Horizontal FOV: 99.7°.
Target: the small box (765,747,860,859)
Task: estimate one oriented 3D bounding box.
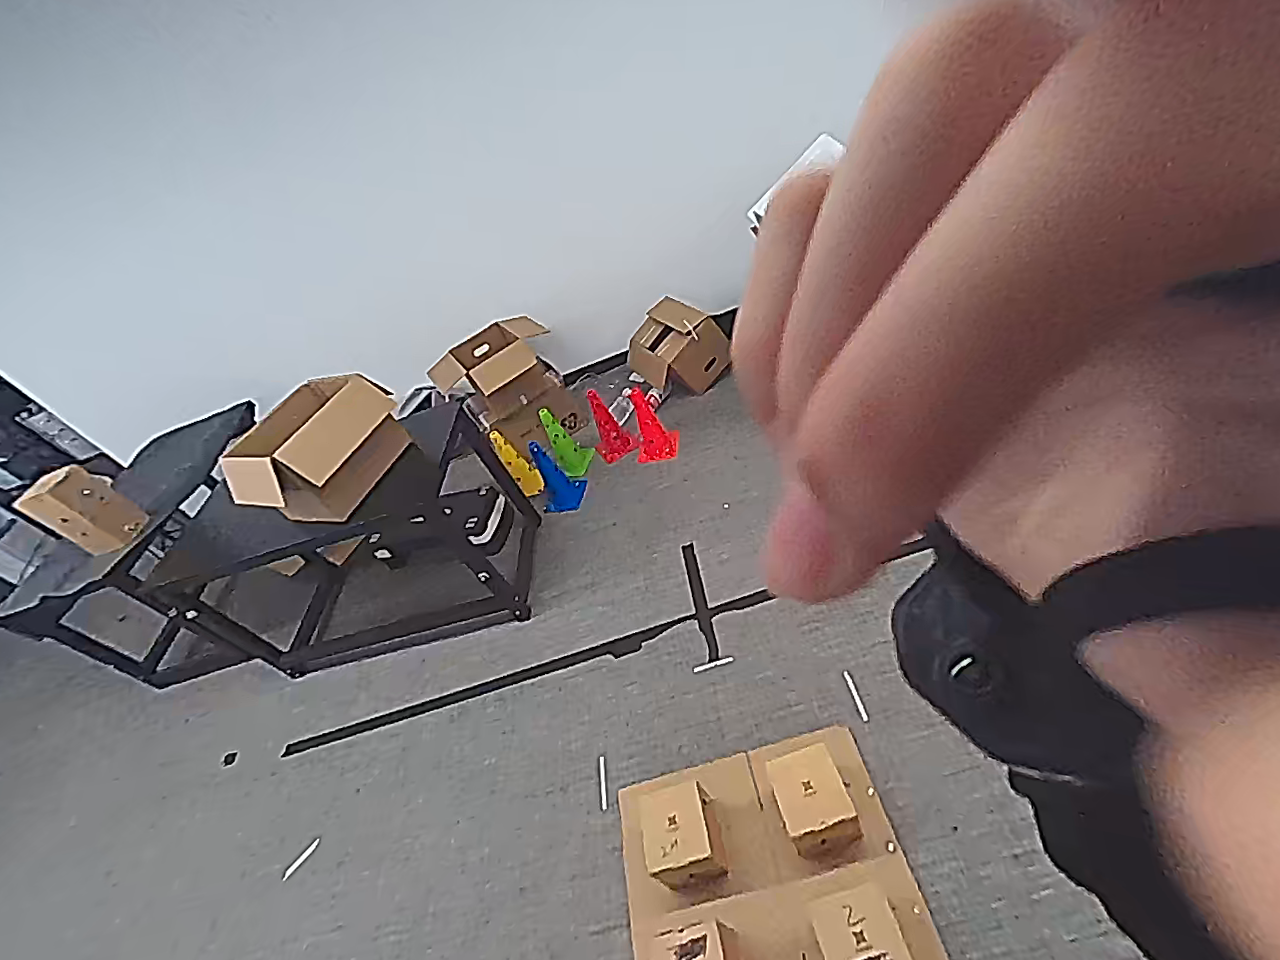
[{"bbox_3d":[0.431,0.809,1.353,0.168,0.176,0.179,-23,40,4],"label":"small box"}]

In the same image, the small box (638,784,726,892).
[{"bbox_3d":[0.108,0.921,1.390,0.168,0.176,0.179,-21,40,7],"label":"small box"}]

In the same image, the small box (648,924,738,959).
[{"bbox_3d":[0.131,1.109,1.177,0.168,0.176,0.179,-22,41,6],"label":"small box"}]
